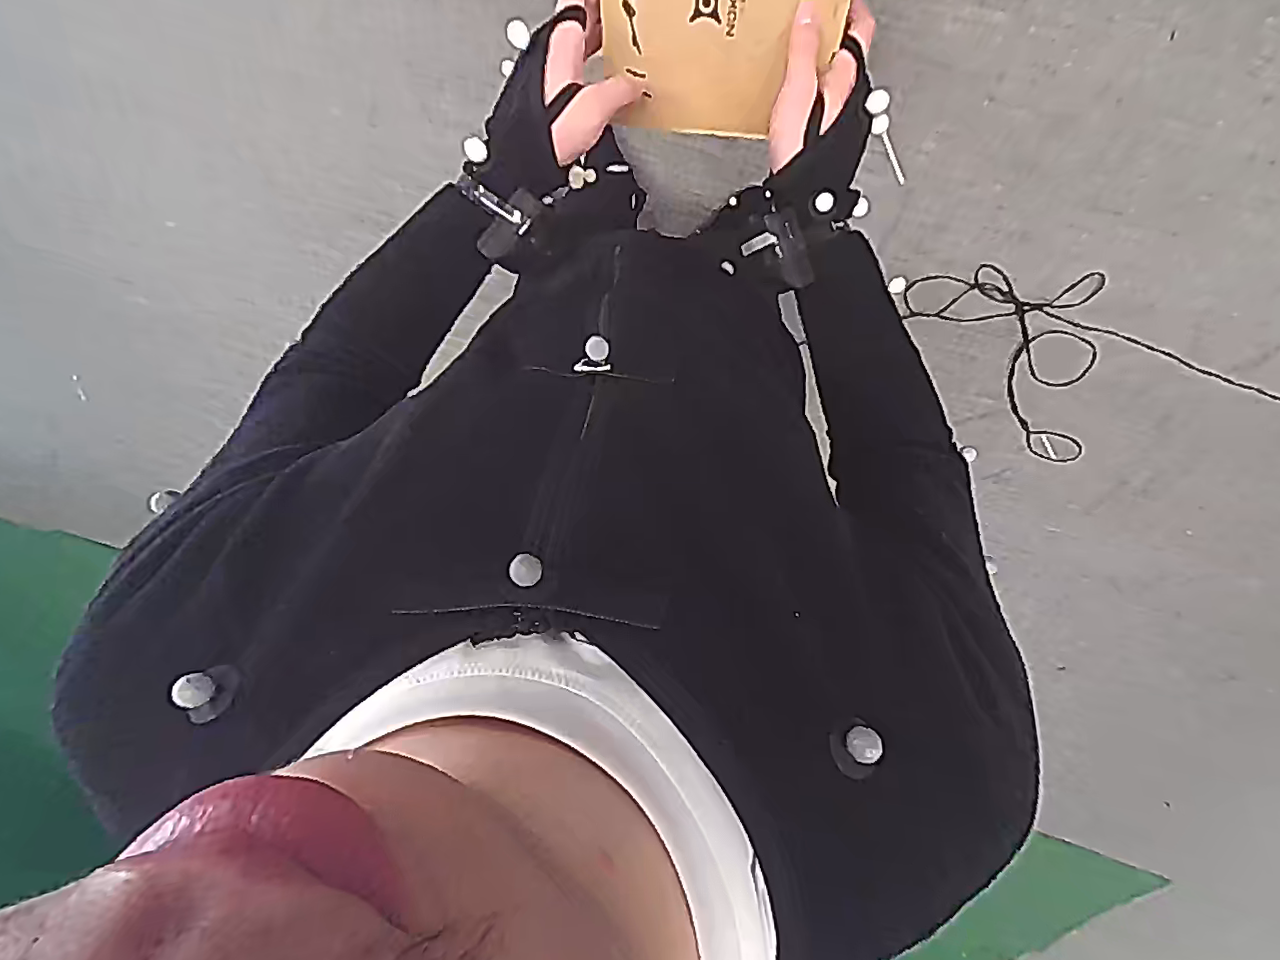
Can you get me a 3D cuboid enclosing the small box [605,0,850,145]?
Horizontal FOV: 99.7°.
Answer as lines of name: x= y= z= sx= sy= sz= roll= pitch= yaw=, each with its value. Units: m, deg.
small box: x=0.075 y=-0.399 z=0.432 sx=0.179 sy=0.176 sz=0.168 roll=10 pitch=145 yaw=8
